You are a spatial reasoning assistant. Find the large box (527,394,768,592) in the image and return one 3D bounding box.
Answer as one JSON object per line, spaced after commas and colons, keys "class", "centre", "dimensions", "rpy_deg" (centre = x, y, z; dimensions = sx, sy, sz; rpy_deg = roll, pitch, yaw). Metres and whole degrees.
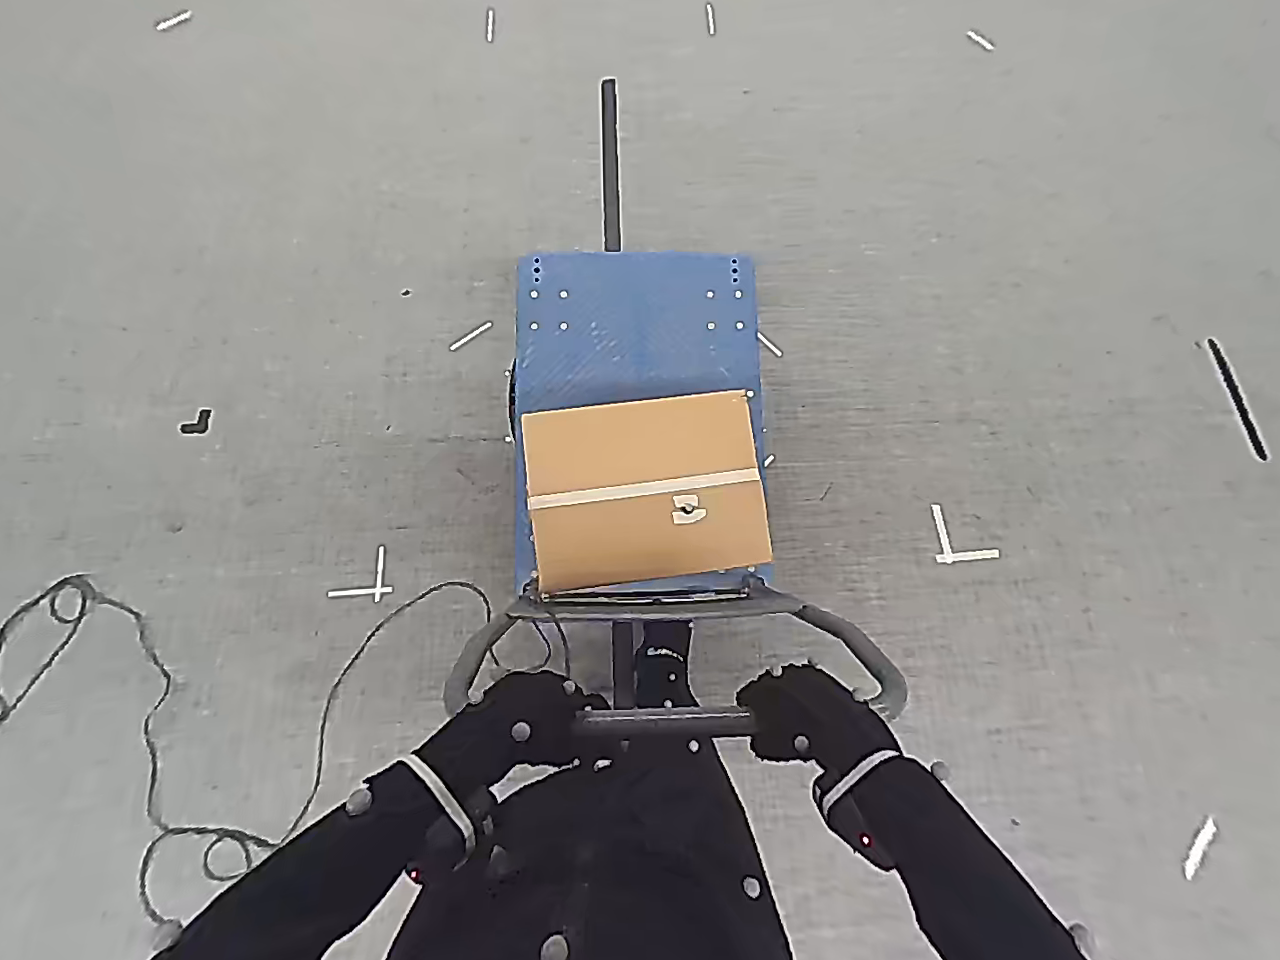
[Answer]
{"class": "large box", "centre": [0.002, 0.038, 1.110], "dimensions": [0.408, 0.320, 0.320], "rpy_deg": [-7, 83, -5]}
